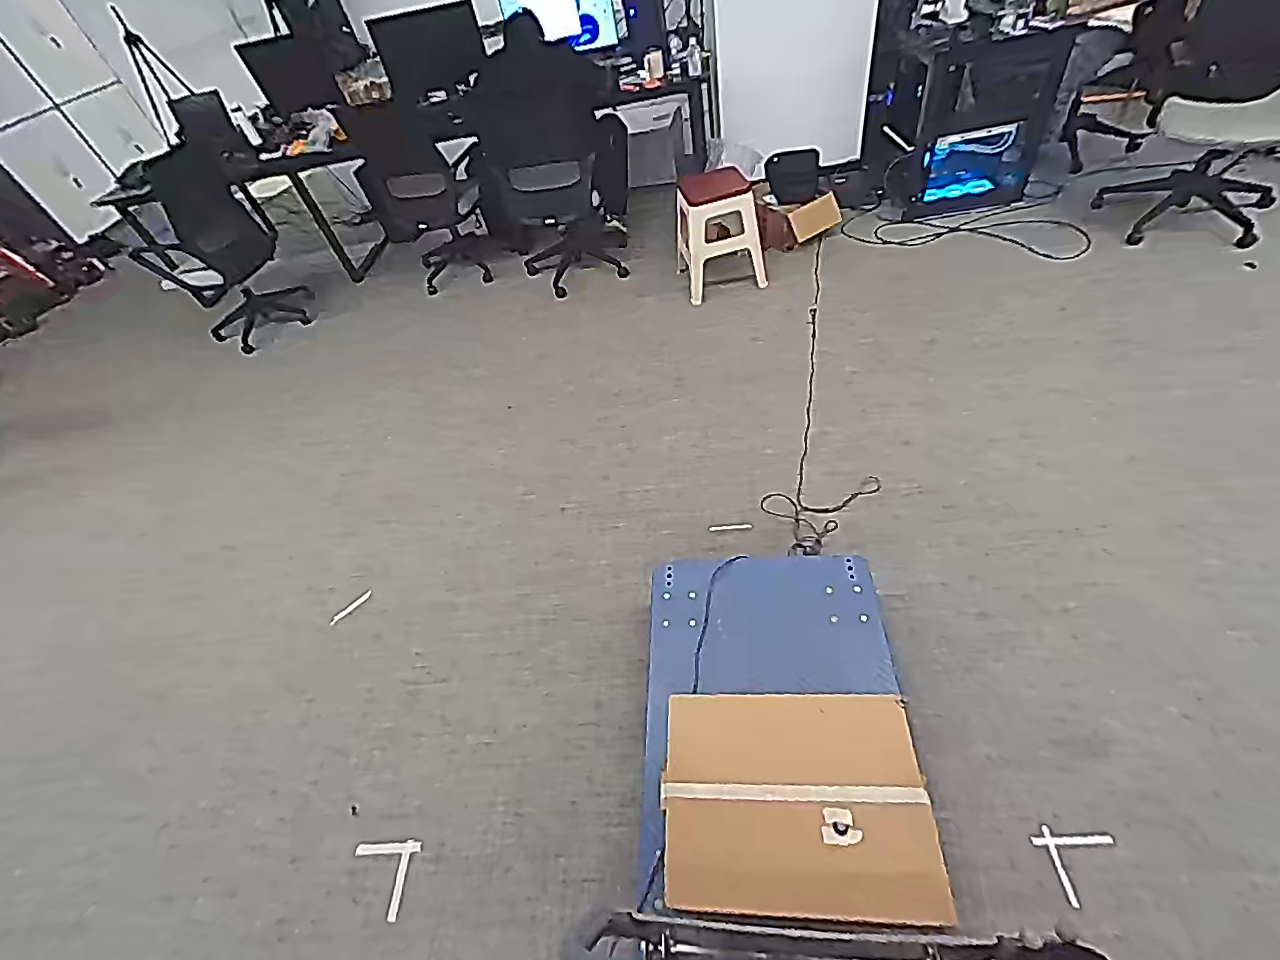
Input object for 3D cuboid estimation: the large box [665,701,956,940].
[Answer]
[{"bbox_3d":[0.259,0.604,0.959,0.408,0.320,0.320,-4,49,9],"label":"large box"}]
